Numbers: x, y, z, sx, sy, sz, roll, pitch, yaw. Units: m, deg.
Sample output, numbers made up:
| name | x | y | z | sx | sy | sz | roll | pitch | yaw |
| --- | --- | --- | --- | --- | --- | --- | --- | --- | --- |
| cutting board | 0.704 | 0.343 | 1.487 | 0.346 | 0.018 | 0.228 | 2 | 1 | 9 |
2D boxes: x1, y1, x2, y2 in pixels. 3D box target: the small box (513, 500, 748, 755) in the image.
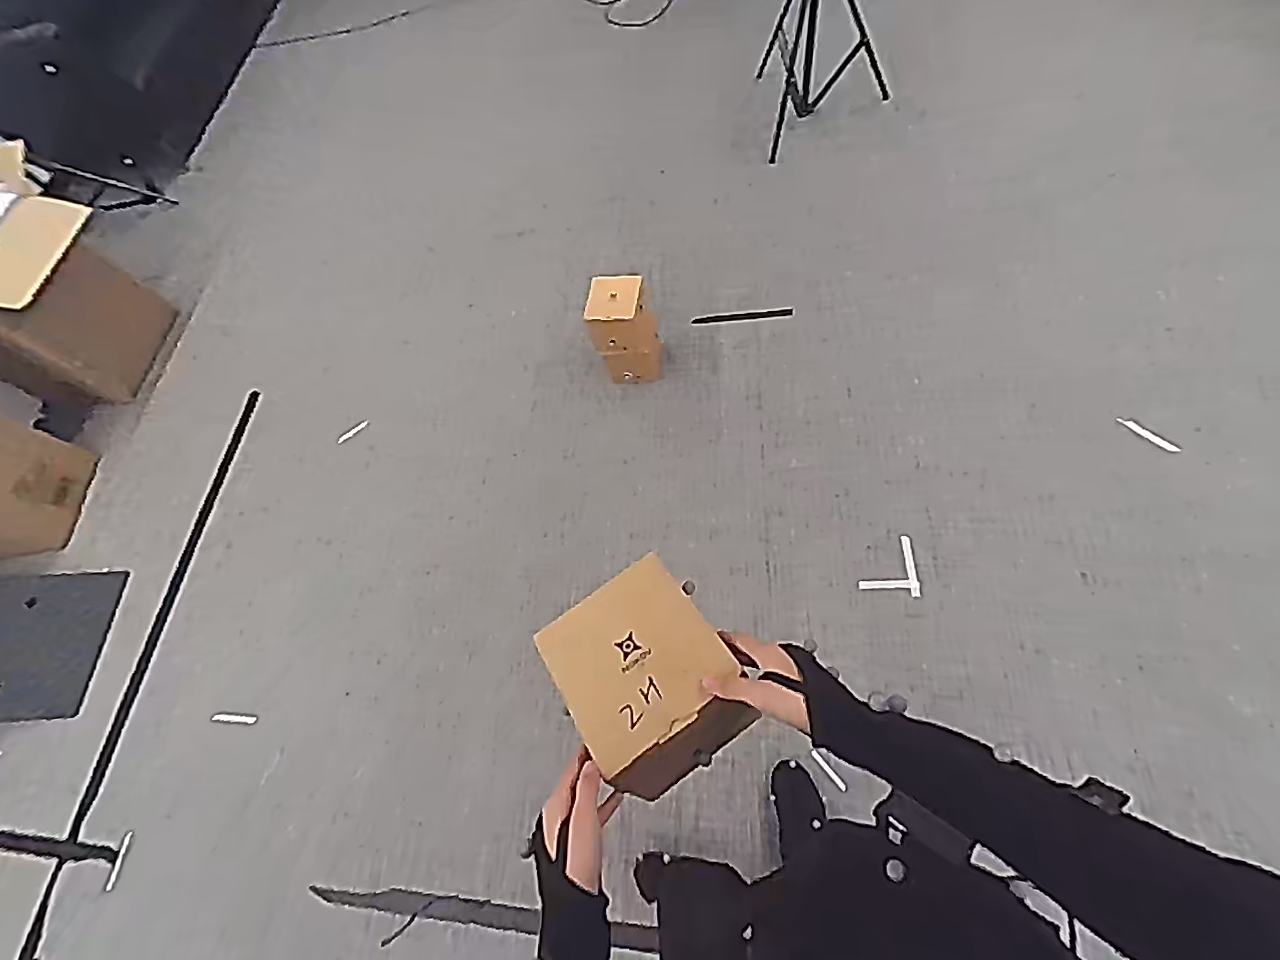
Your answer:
| name | x | y | z | sx | sy | sz | roll | pitch | yaw |
| --- | --- | --- | --- | --- | --- | --- | --- | --- | --- |
| small box | -0.004 | 0.162 | 0.581 | 0.168 | 0.176 | 0.179 | -34 | 53 | -7 |

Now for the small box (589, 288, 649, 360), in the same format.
| name | x | y | z | sx | sy | sz | roll | pitch | yaw |
| --- | --- | --- | --- | --- | --- | --- | --- | --- | --- |
| small box | -0.065 | -0.532 | 1.854 | 0.168 | 0.176 | 0.179 | 1 | 66 | 12 |

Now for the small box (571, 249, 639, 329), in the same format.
| name | x | y | z | sx | sy | sz | roll | pitch | yaw |
| --- | --- | --- | --- | --- | --- | --- | --- | --- | --- |
| small box | -0.104 | -0.602 | 1.712 | 0.168 | 0.176 | 0.179 | 3 | 68 | 13 |
